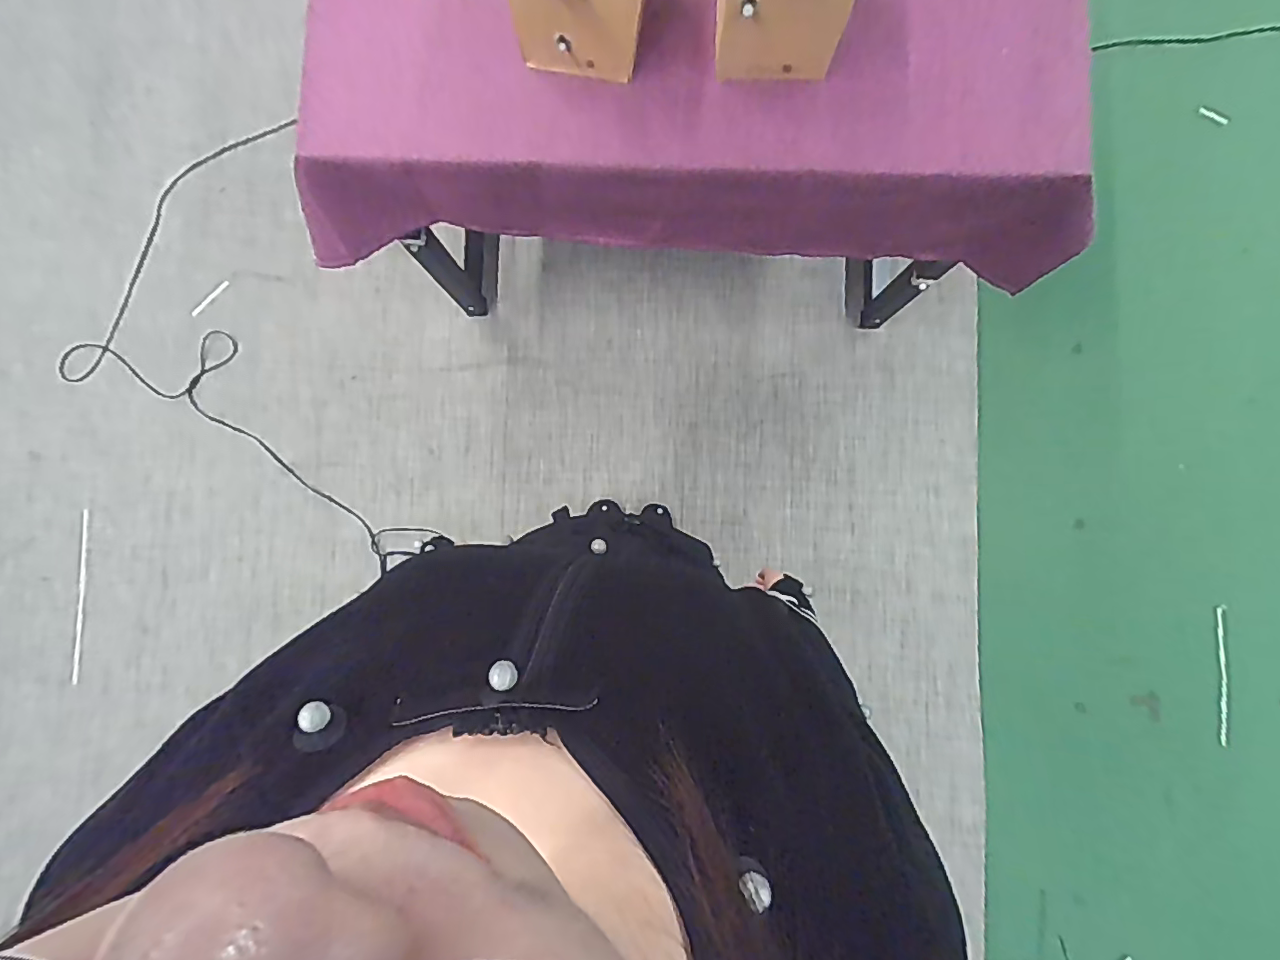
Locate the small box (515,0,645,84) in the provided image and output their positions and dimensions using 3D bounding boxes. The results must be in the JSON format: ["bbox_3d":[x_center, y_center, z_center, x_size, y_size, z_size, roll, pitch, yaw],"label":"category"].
[{"bbox_3d":[-0.082,-0.720,0.769,0.168,0.176,0.179,10,88,1],"label":"small box"}]
